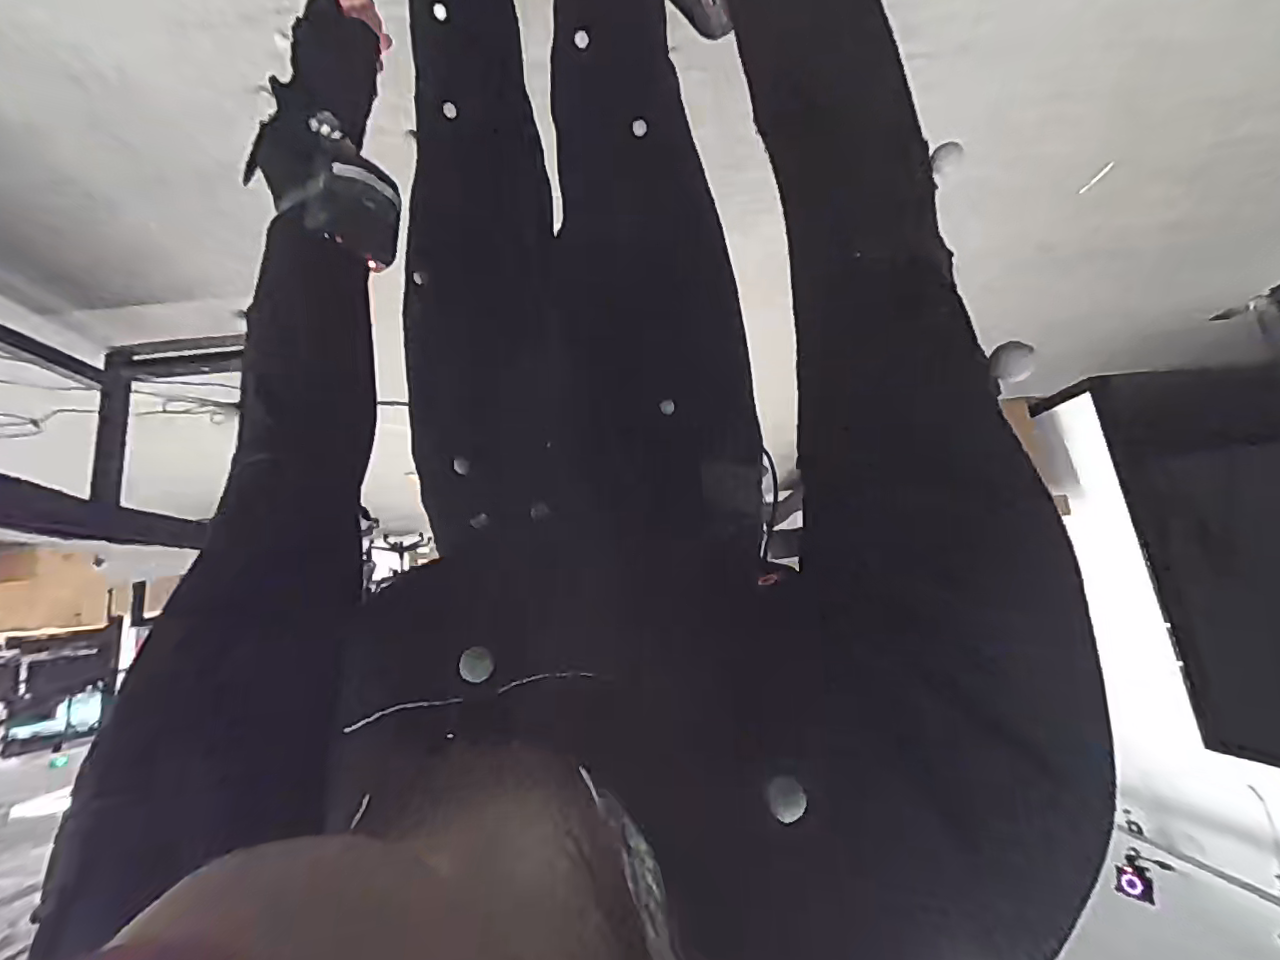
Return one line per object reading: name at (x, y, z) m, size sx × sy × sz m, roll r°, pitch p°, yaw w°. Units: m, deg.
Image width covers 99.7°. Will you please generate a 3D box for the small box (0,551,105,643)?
small box at (-1.255, 0.241, 1.107) m, size 0.179 × 0.176 × 0.168 m, roll -5°, pitch 167°, yaw -4°
